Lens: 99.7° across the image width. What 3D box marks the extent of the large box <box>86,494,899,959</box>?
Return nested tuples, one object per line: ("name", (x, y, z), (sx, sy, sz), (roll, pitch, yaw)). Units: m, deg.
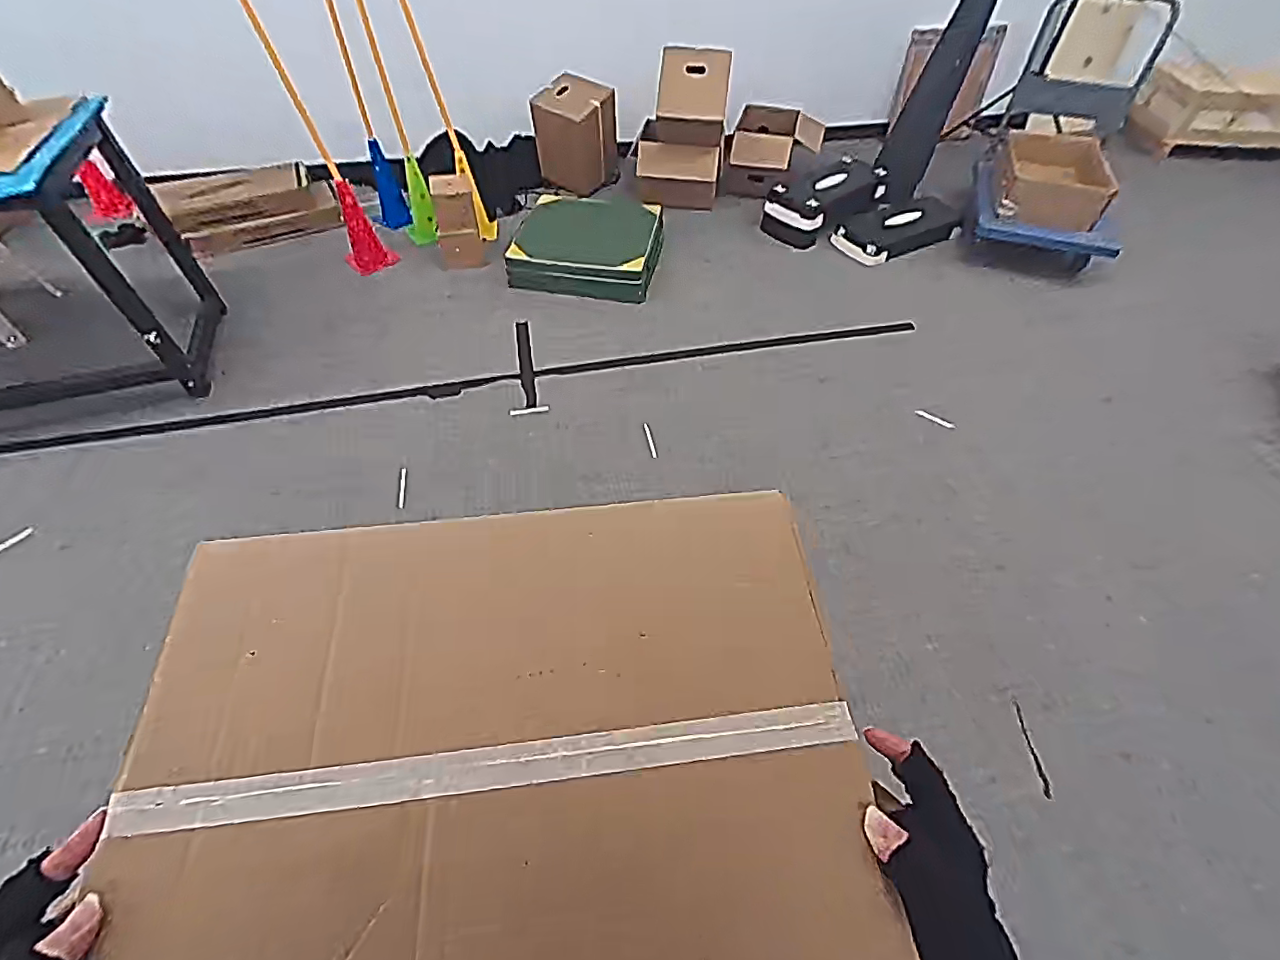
("large box", (-0.082, 0.235, 0.441), (0.408, 0.320, 0.320), (-5, 59, -4))
